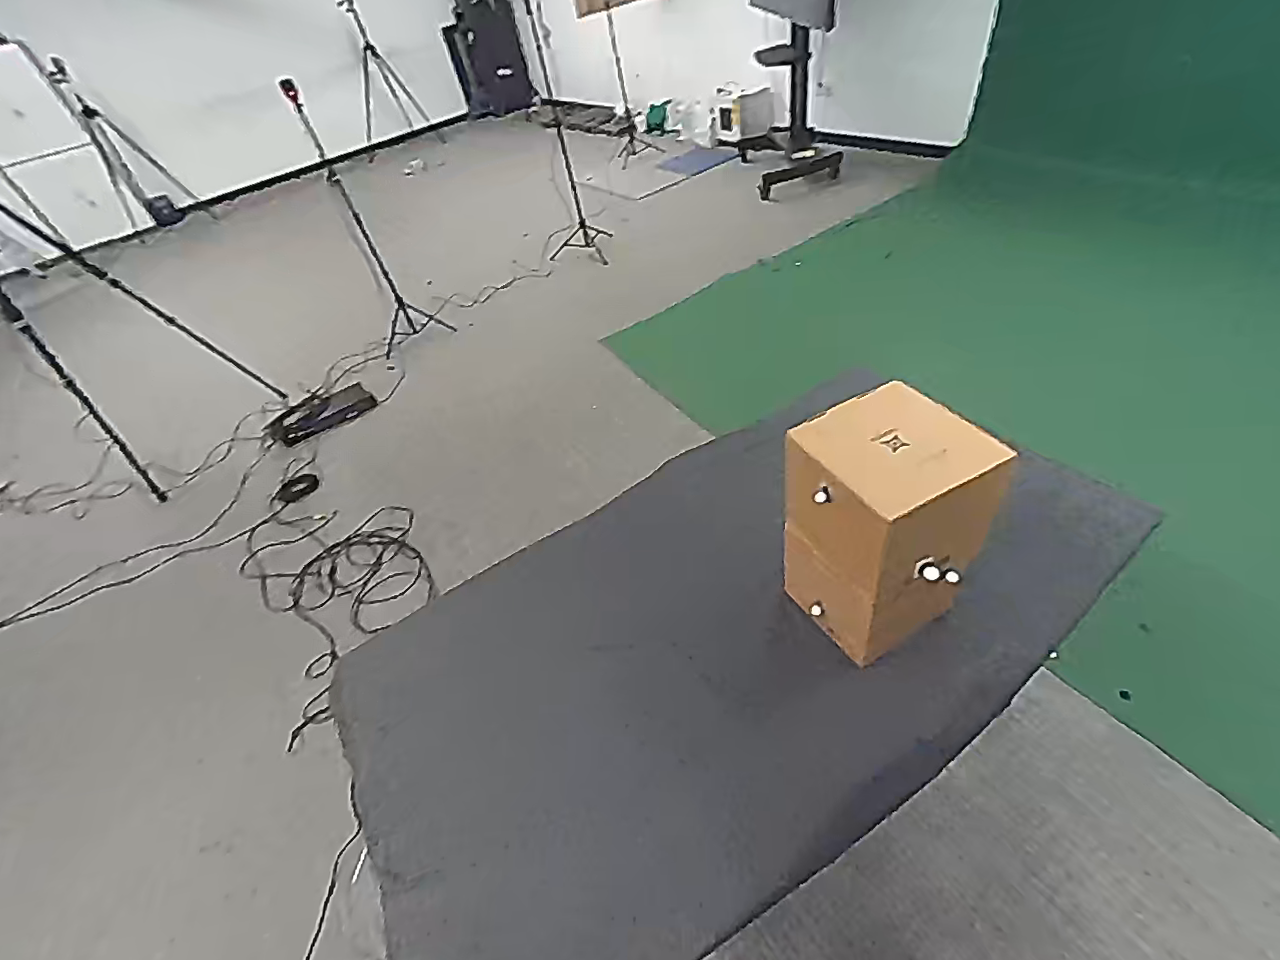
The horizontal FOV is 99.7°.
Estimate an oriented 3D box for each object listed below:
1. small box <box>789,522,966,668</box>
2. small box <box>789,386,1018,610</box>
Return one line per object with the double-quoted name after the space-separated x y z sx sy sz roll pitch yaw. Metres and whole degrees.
0.330 0.129 0.771 0.179 0.176 0.168 -28 44 -13 "small box"
0.297 0.021 0.654 0.168 0.176 0.179 -26 45 -9 "small box"
